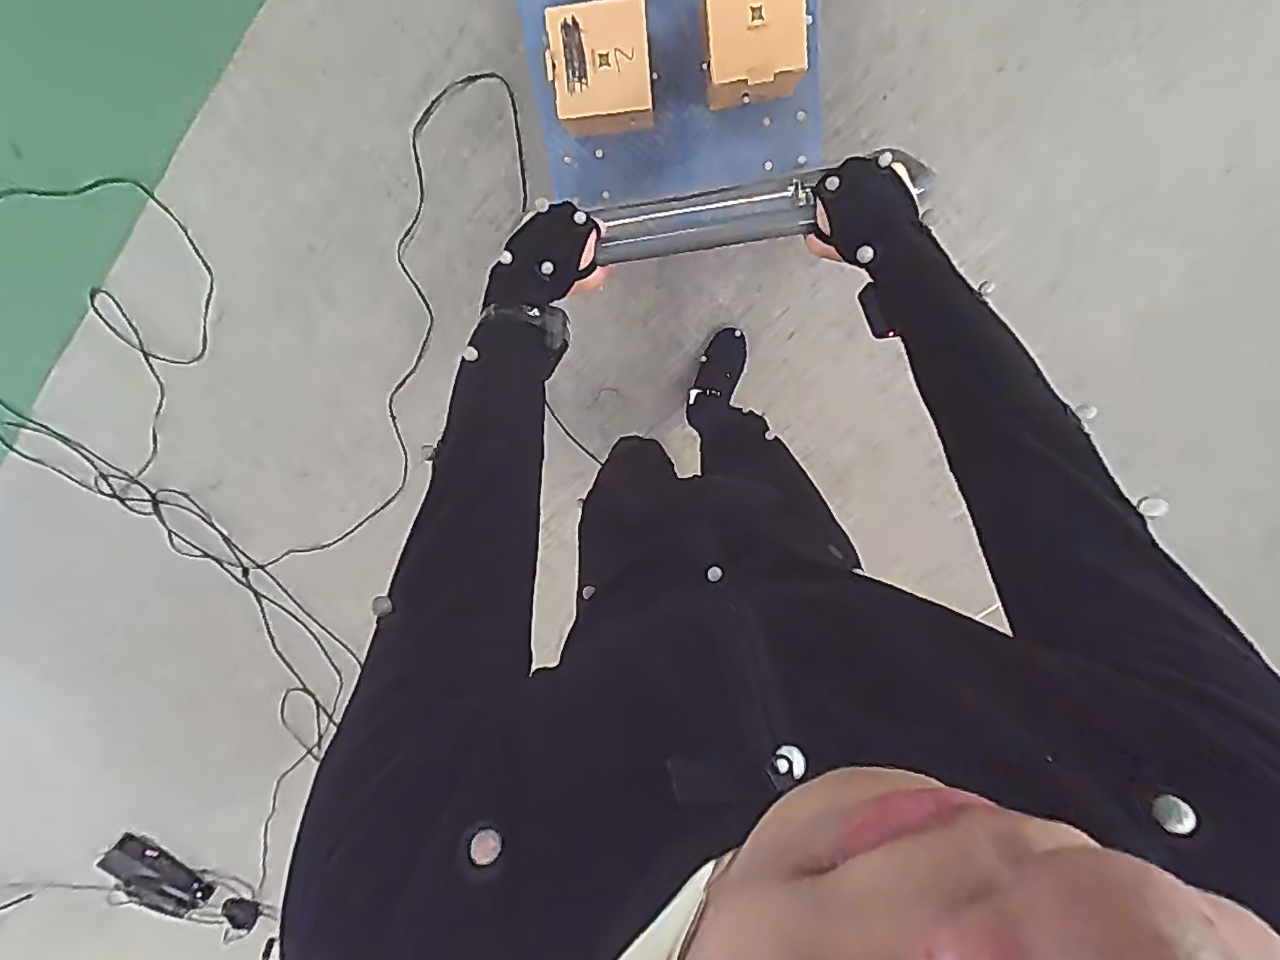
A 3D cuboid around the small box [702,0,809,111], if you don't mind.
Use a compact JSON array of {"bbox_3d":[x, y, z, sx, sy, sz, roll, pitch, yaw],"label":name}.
[{"bbox_3d":[0.207,-0.811,0.991,0.168,0.176,0.179,-7,113,6],"label":"small box"}]
